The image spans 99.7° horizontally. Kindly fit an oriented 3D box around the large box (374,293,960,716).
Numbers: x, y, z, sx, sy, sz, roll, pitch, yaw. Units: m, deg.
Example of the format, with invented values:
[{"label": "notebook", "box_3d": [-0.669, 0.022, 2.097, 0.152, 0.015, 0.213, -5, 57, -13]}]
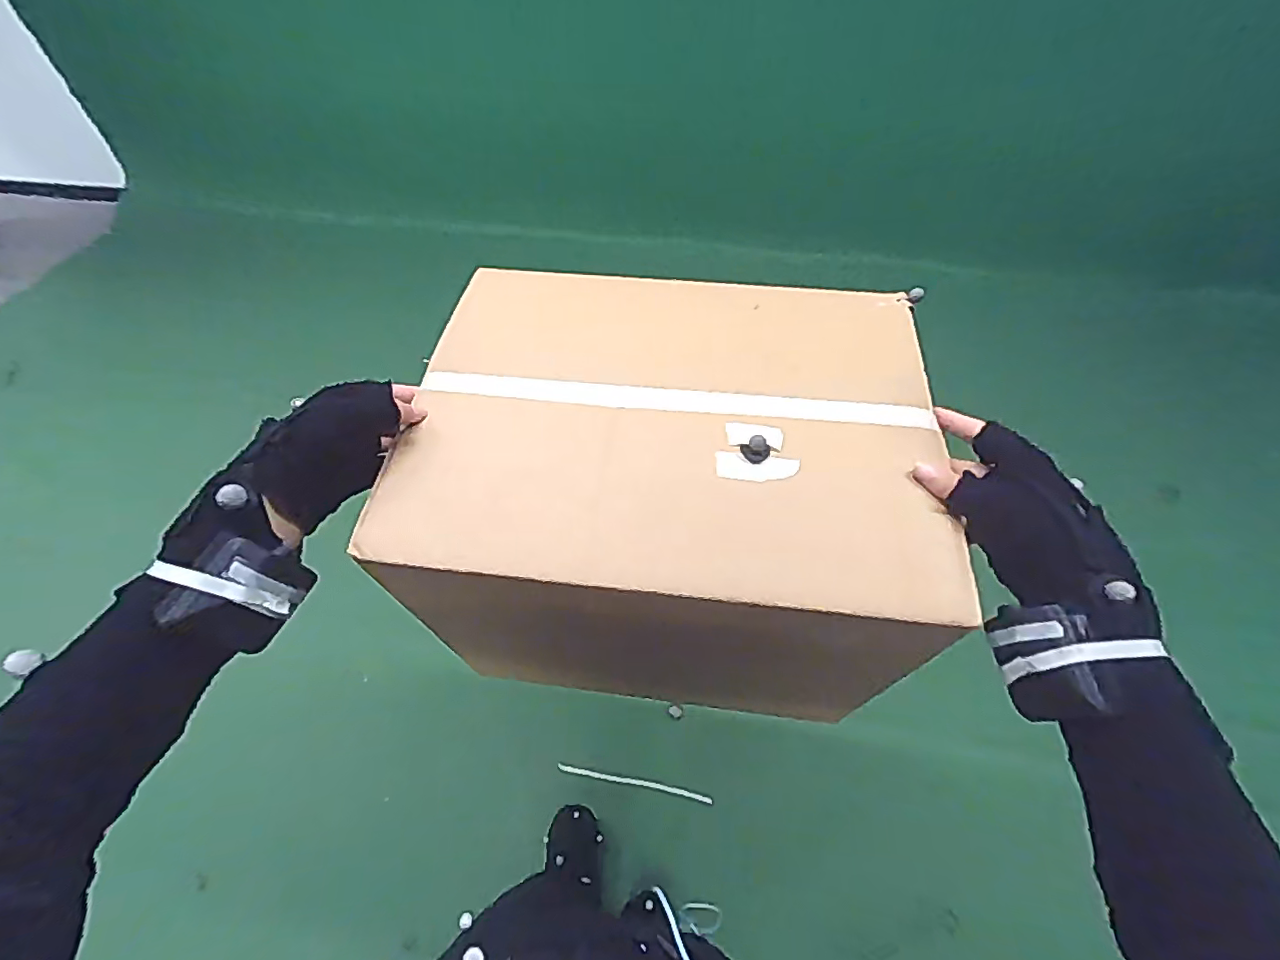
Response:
[{"label": "large box", "box_3d": [0.028, 0.035, 0.565, 0.408, 0.320, 0.320, 5, 57, 5]}]
